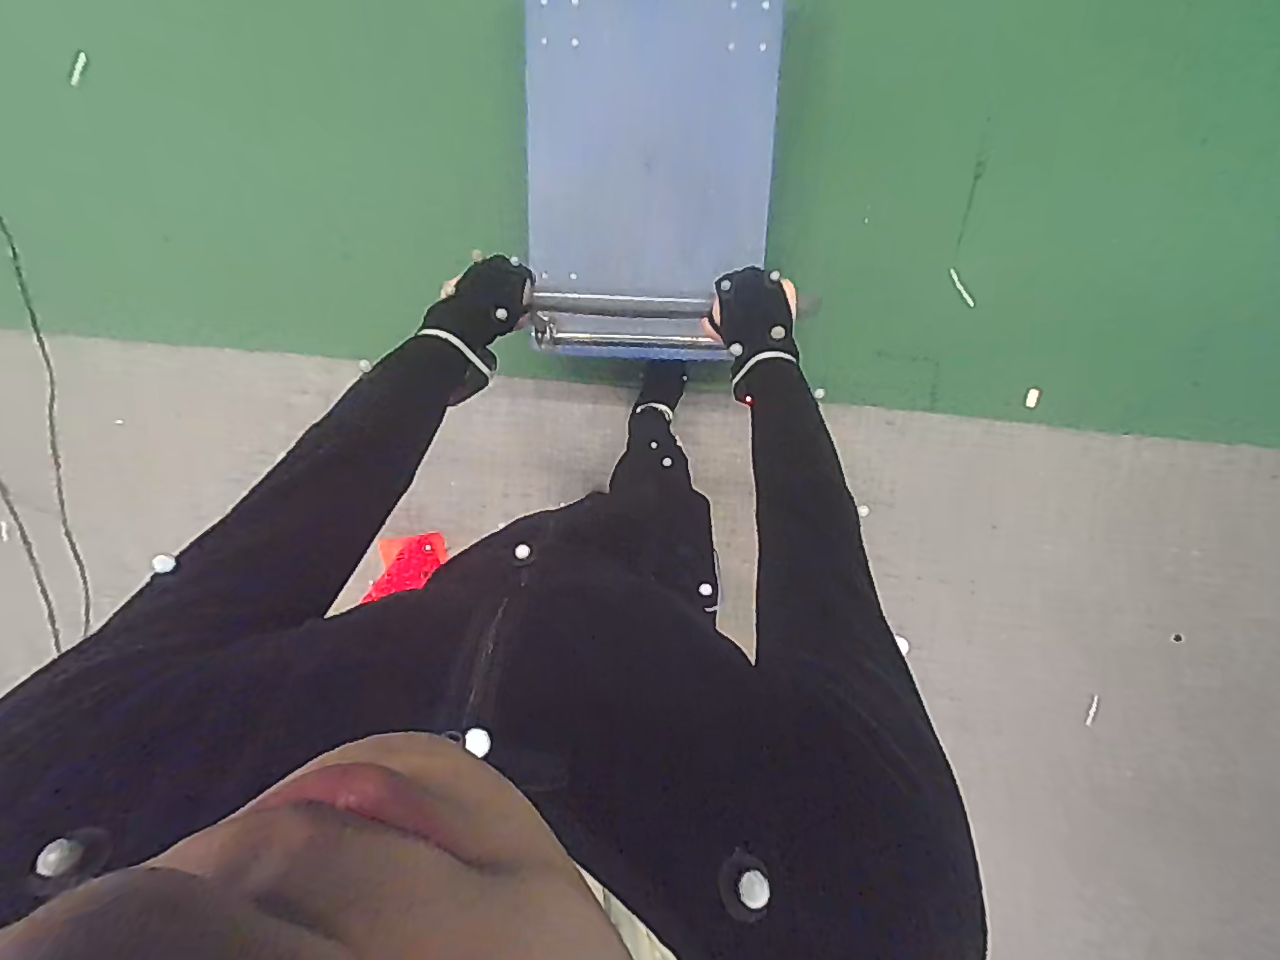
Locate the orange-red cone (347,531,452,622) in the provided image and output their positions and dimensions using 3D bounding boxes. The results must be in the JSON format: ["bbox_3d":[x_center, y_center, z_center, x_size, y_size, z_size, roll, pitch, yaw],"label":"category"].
[{"bbox_3d":[-0.690,0.293,1.482,0.199,0.360,0.198,-8,101,4],"label":"orange-red cone"}]
